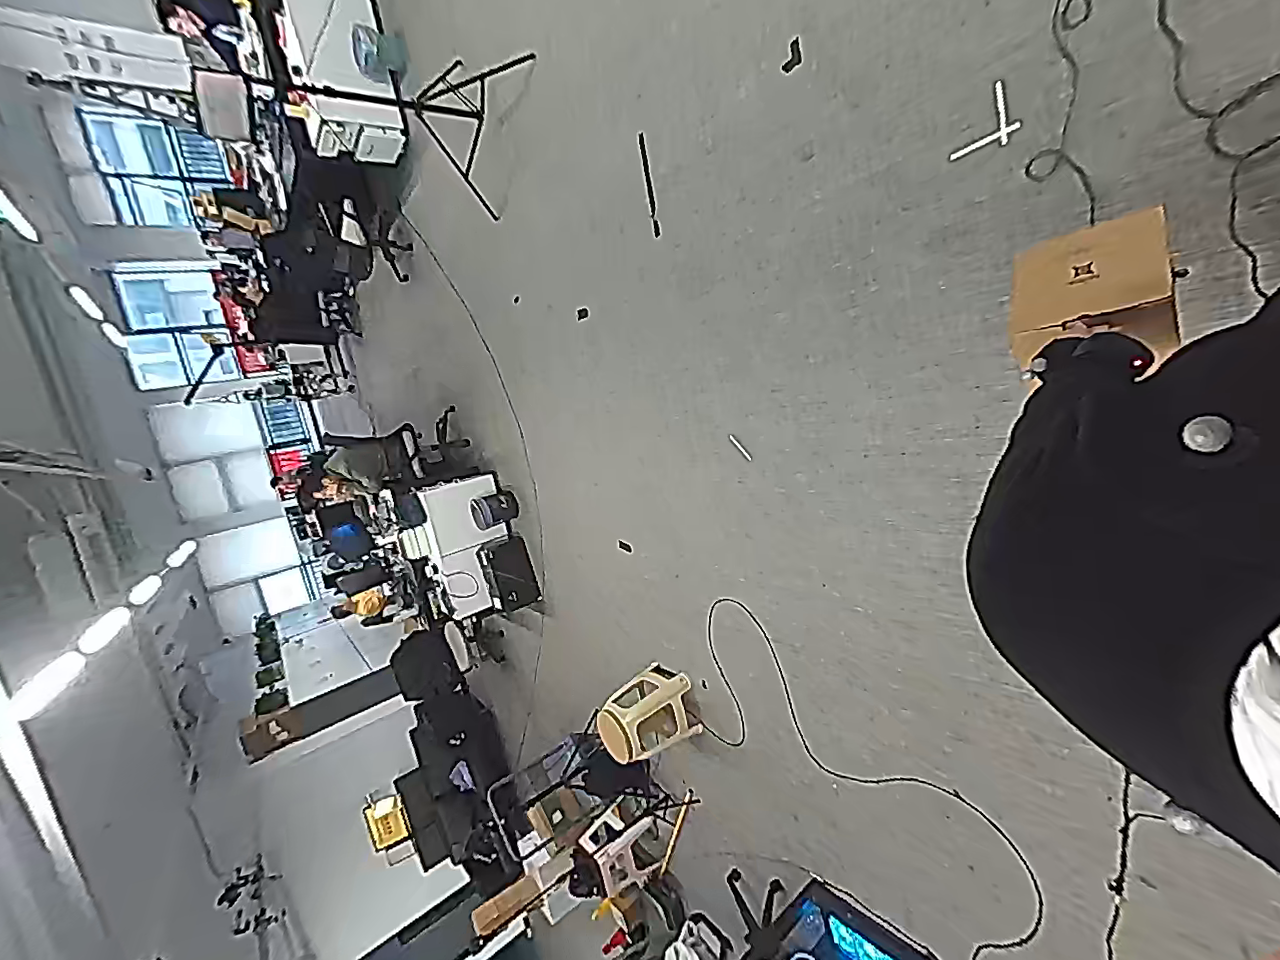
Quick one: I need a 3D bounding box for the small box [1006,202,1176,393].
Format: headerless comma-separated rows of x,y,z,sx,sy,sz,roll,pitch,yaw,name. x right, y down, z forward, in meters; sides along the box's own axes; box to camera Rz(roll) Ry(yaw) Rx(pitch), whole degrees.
0.642,-0.242,0.772,0.168,0.176,0.179,-6,56,44,small box
